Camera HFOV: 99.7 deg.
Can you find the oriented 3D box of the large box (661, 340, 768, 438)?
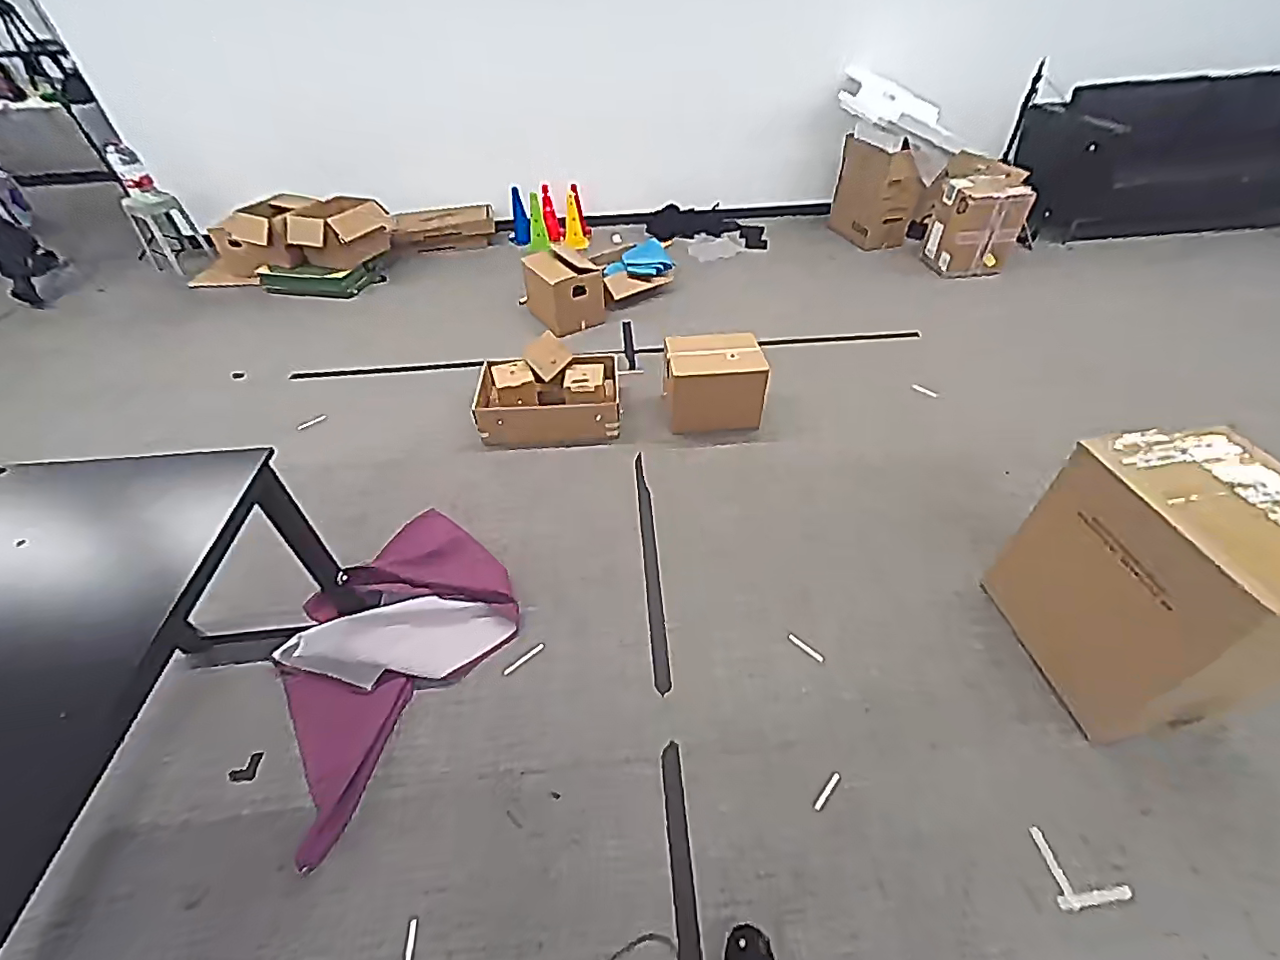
[{"bbox_3d":[0.315,-0.409,2.422,0.408,0.320,0.320,-4,44,-4],"label":"large box"}]
